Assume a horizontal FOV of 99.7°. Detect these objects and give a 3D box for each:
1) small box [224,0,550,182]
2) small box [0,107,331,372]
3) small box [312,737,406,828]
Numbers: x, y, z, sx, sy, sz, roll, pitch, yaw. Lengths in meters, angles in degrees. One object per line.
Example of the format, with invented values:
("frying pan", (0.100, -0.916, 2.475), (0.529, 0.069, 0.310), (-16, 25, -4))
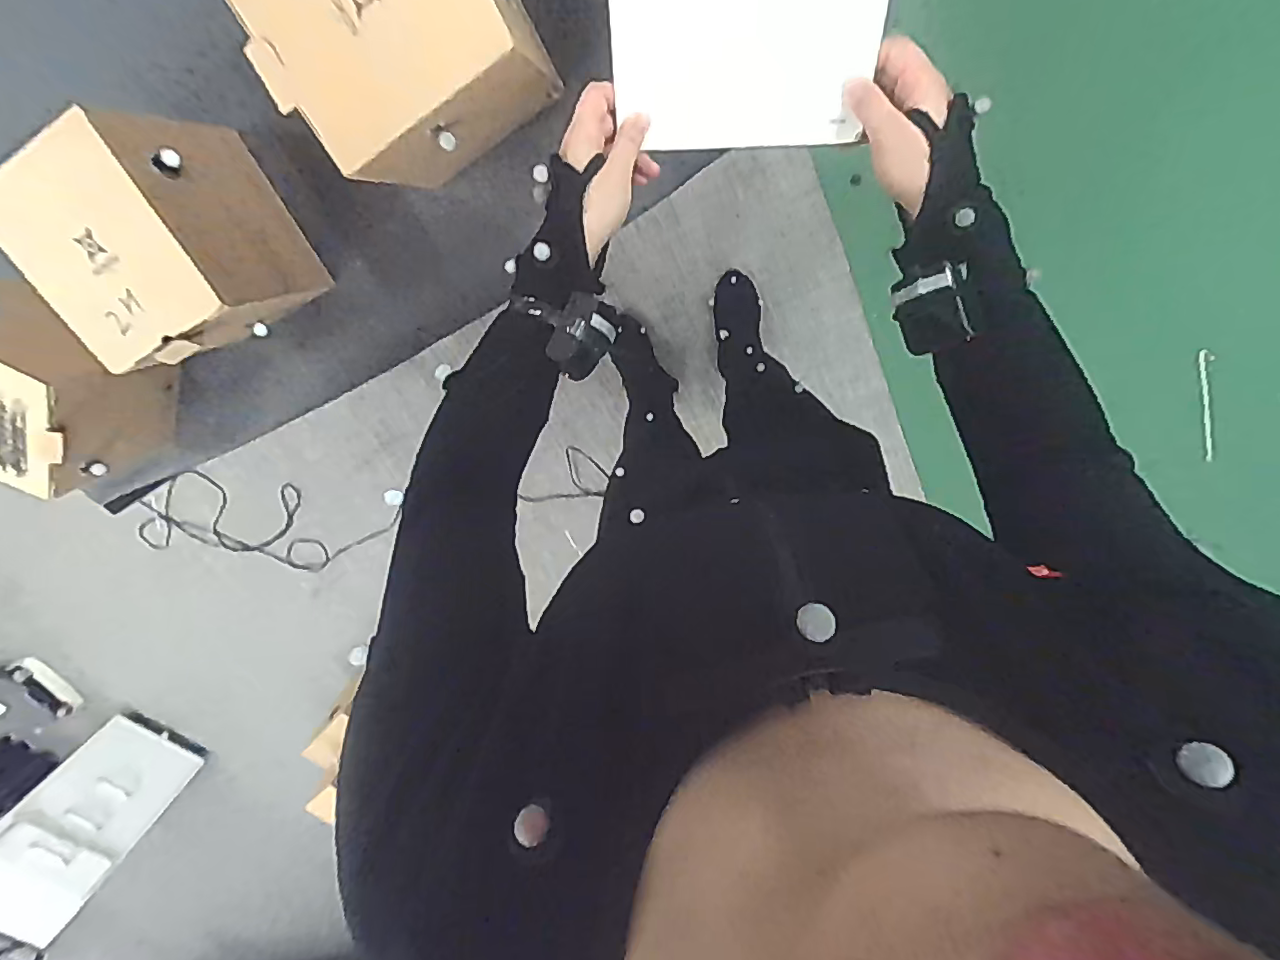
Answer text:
("small box", (-0.194, -0.378, 0.455), (0.179, 0.176, 0.168), (-24, 112, 19))
("small box", (-0.476, -0.240, 0.559), (0.168, 0.176, 0.179), (-20, 113, 17))
("small box", (-0.890, 0.965, 1.732), (0.179, 0.176, 0.168), (41, 113, -15))
